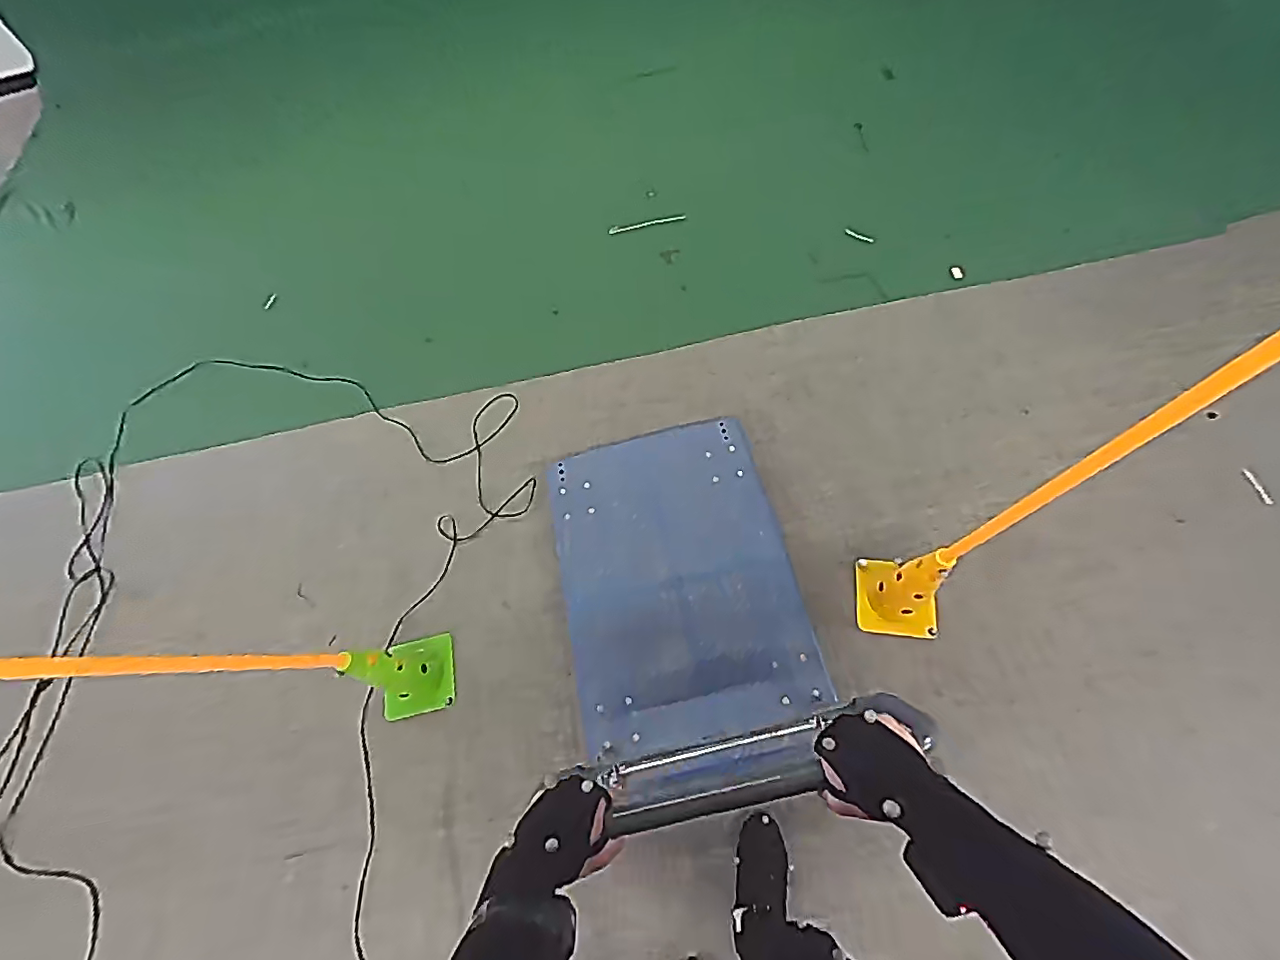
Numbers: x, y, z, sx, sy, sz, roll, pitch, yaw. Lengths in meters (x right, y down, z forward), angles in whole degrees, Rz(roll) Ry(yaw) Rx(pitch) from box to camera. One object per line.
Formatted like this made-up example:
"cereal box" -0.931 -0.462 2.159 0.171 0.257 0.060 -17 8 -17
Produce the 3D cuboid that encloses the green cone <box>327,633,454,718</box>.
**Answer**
"green cone" -0.646 0.471 1.359 0.202 0.368 0.200 -16 63 2
